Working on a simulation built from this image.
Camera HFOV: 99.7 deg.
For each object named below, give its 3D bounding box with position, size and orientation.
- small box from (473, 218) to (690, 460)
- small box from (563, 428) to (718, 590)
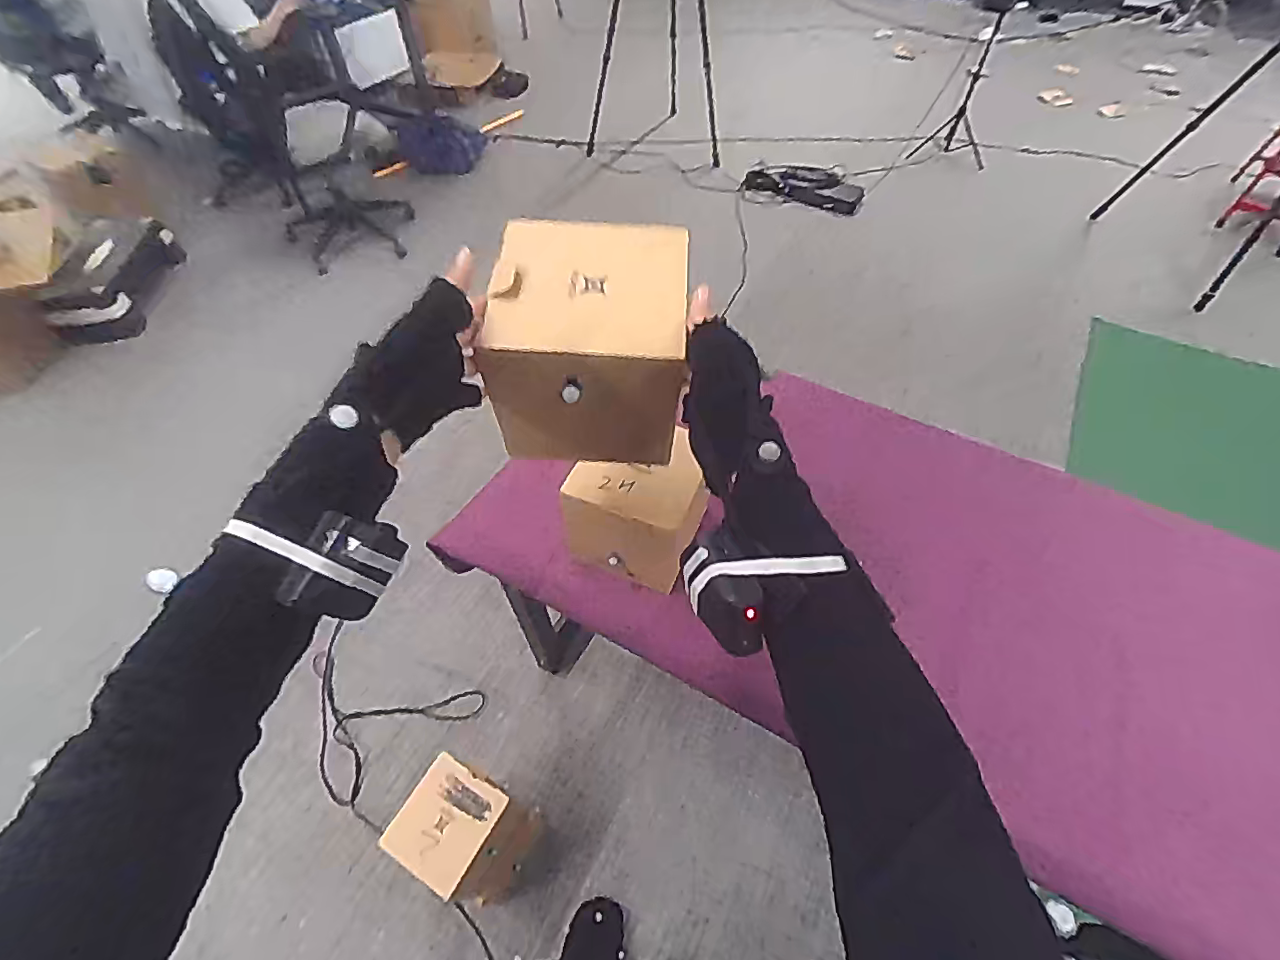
[{"bbox_3d":[-0.047,-0.132,0.544,0.179,0.176,0.168,3,61,0],"label":"small box"},{"bbox_3d":[0.001,0.030,0.801,0.168,0.176,0.179,20,54,14],"label":"small box"}]
